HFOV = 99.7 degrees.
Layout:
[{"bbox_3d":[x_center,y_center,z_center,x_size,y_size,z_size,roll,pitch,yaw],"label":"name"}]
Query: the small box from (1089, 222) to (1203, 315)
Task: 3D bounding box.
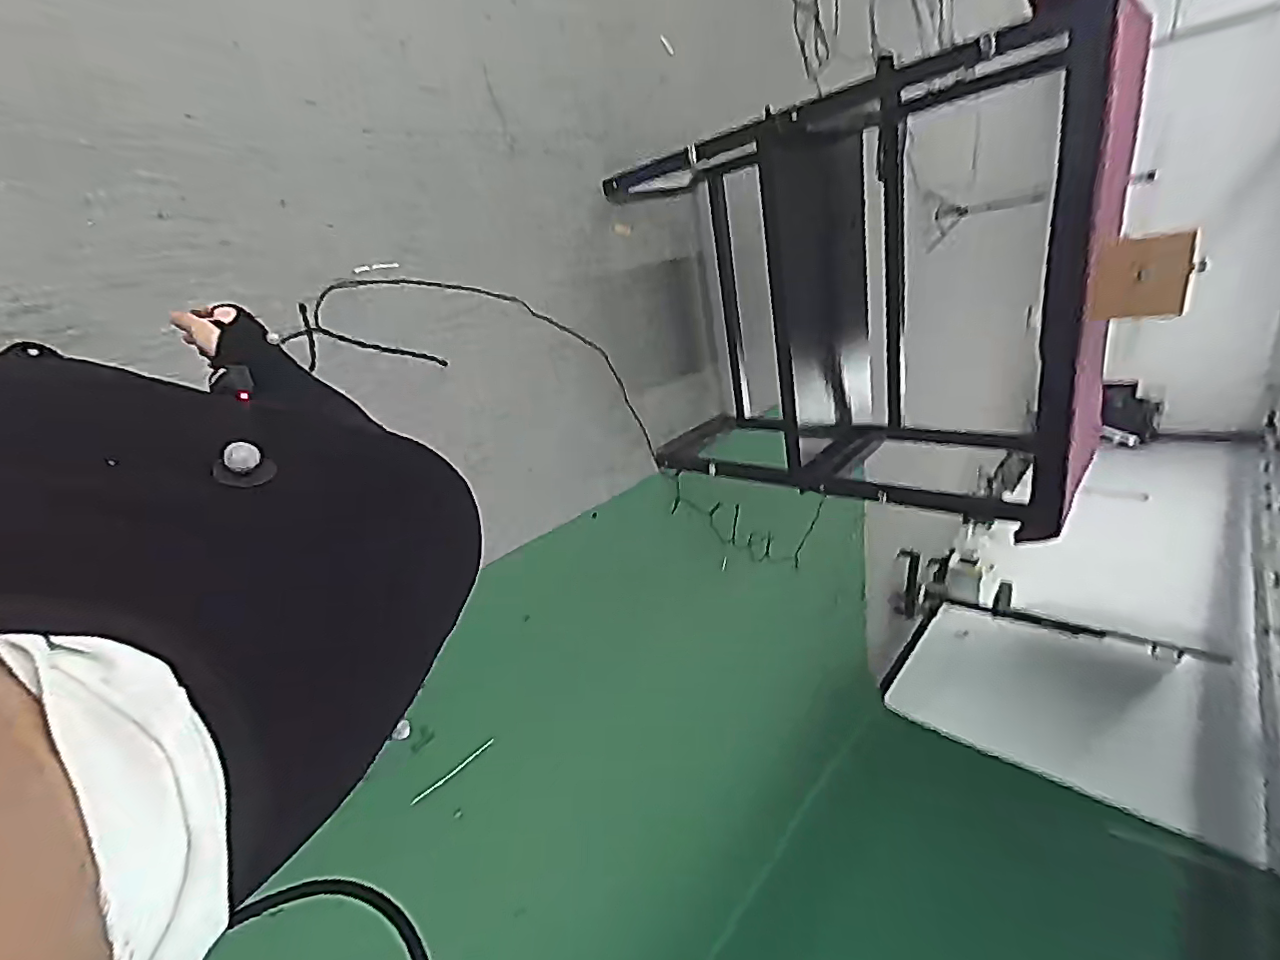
[{"bbox_3d":[1.140,-0.474,1.226,0.168,0.176,0.179,-25,114,-41],"label":"small box"}]
